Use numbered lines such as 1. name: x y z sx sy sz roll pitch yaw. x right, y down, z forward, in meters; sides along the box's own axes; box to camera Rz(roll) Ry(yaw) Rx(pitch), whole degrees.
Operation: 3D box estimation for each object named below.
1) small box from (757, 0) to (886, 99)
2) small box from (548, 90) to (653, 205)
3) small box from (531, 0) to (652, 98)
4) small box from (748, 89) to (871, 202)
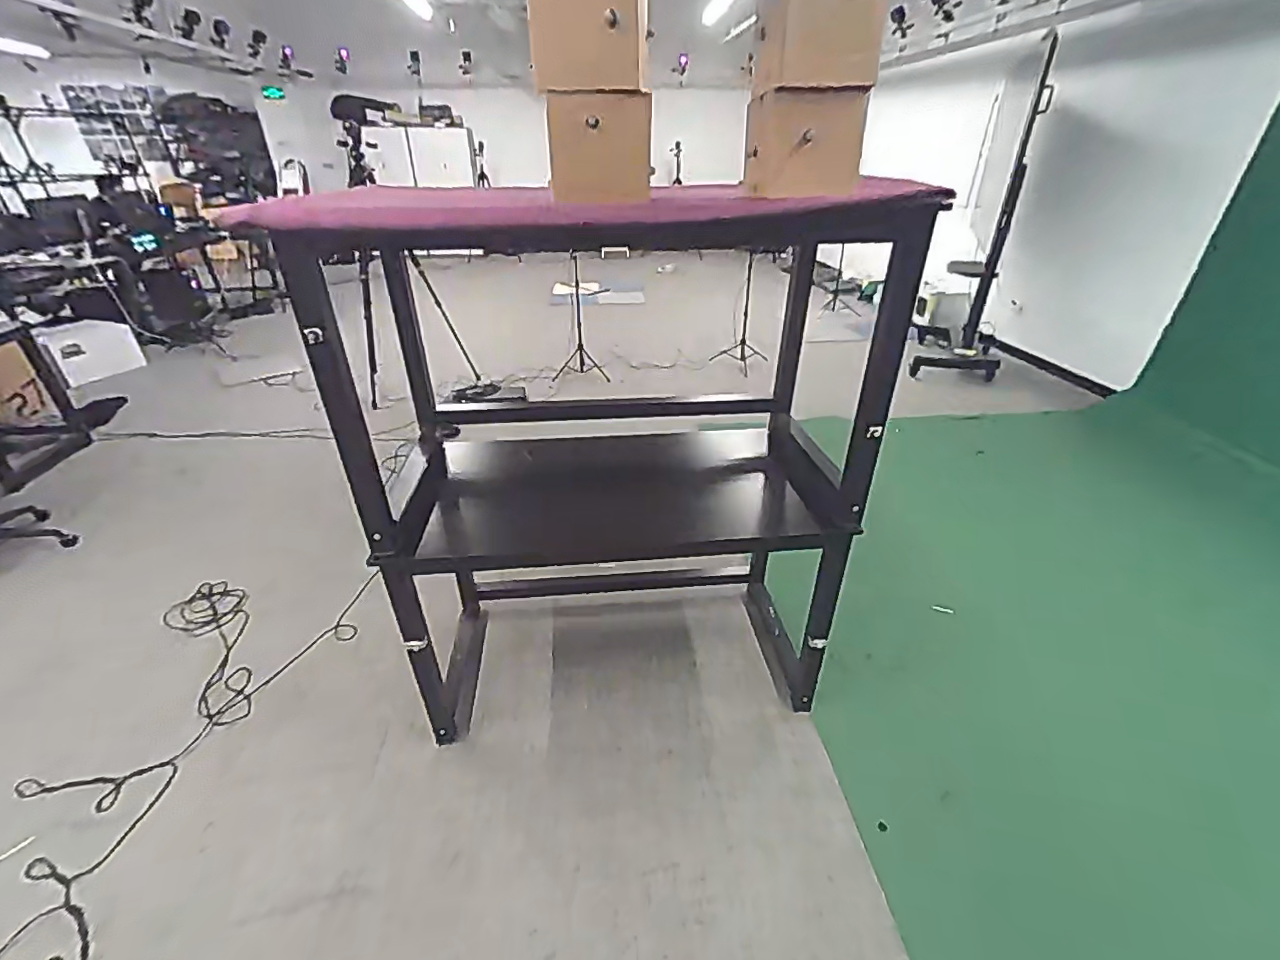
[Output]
1. small box: 0.306 -0.761 0.935 0.179 0.176 0.168 -3 29 -4
2. small box: -0.069 -0.600 0.986 0.179 0.176 0.168 -1 32 -4
3. small box: -0.073 -0.738 0.902 0.179 0.176 0.168 2 31 5
4. small box: 0.308 -0.625 1.025 0.179 0.176 0.168 -4 29 -3
